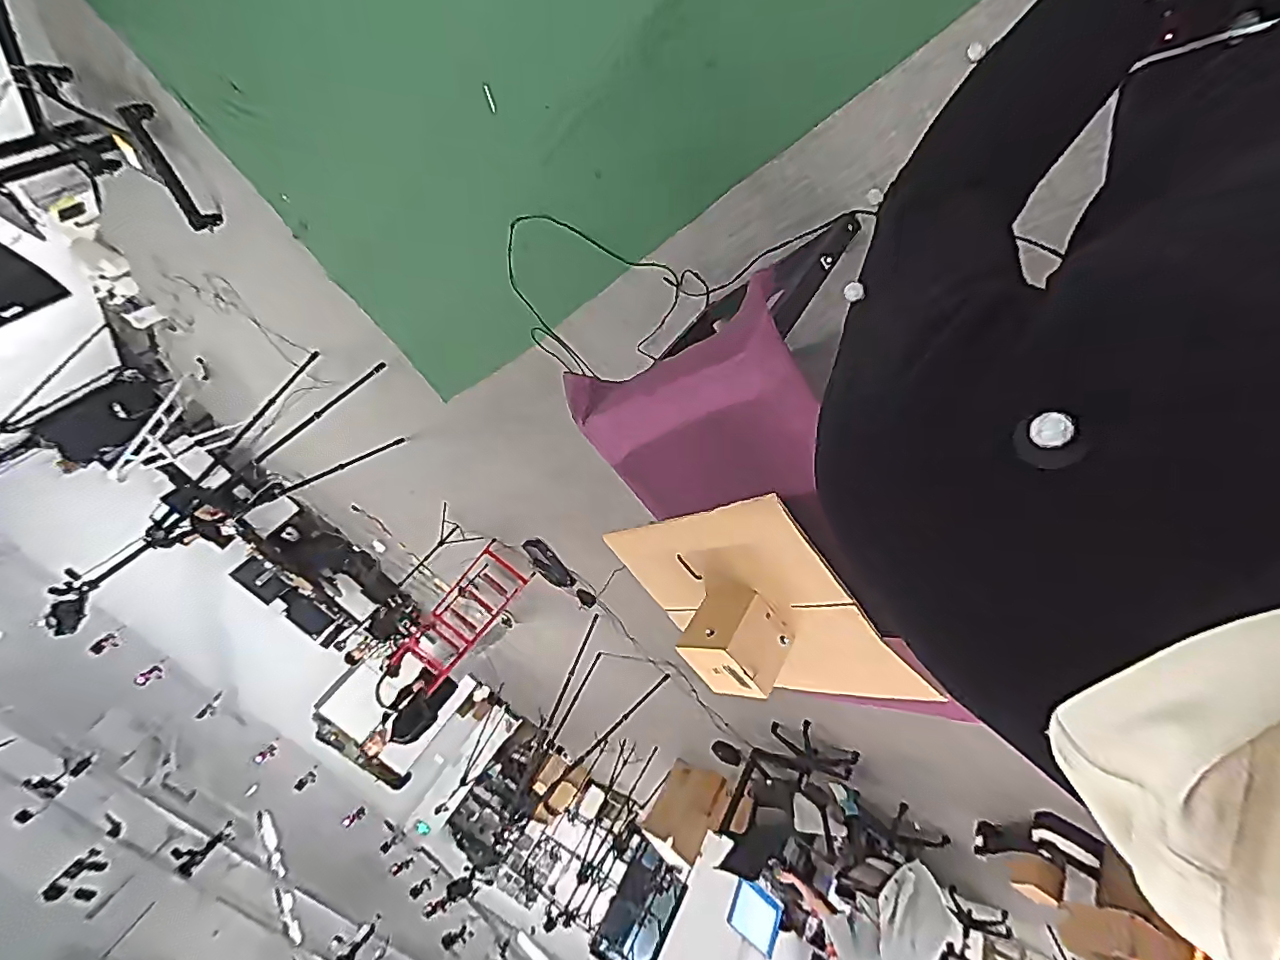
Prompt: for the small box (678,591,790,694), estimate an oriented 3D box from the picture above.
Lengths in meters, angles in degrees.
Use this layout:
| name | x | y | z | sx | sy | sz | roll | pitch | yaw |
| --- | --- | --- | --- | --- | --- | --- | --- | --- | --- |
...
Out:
| name | x | y | z | sx | sy | sz | roll | pitch | yaw |
| --- | --- | --- | --- | --- | --- | --- | --- | --- | --- |
| small box | 0.229 | 0.375 | 1.272 | 0.168 | 0.176 | 0.179 | 50 | 145 | -15 |
